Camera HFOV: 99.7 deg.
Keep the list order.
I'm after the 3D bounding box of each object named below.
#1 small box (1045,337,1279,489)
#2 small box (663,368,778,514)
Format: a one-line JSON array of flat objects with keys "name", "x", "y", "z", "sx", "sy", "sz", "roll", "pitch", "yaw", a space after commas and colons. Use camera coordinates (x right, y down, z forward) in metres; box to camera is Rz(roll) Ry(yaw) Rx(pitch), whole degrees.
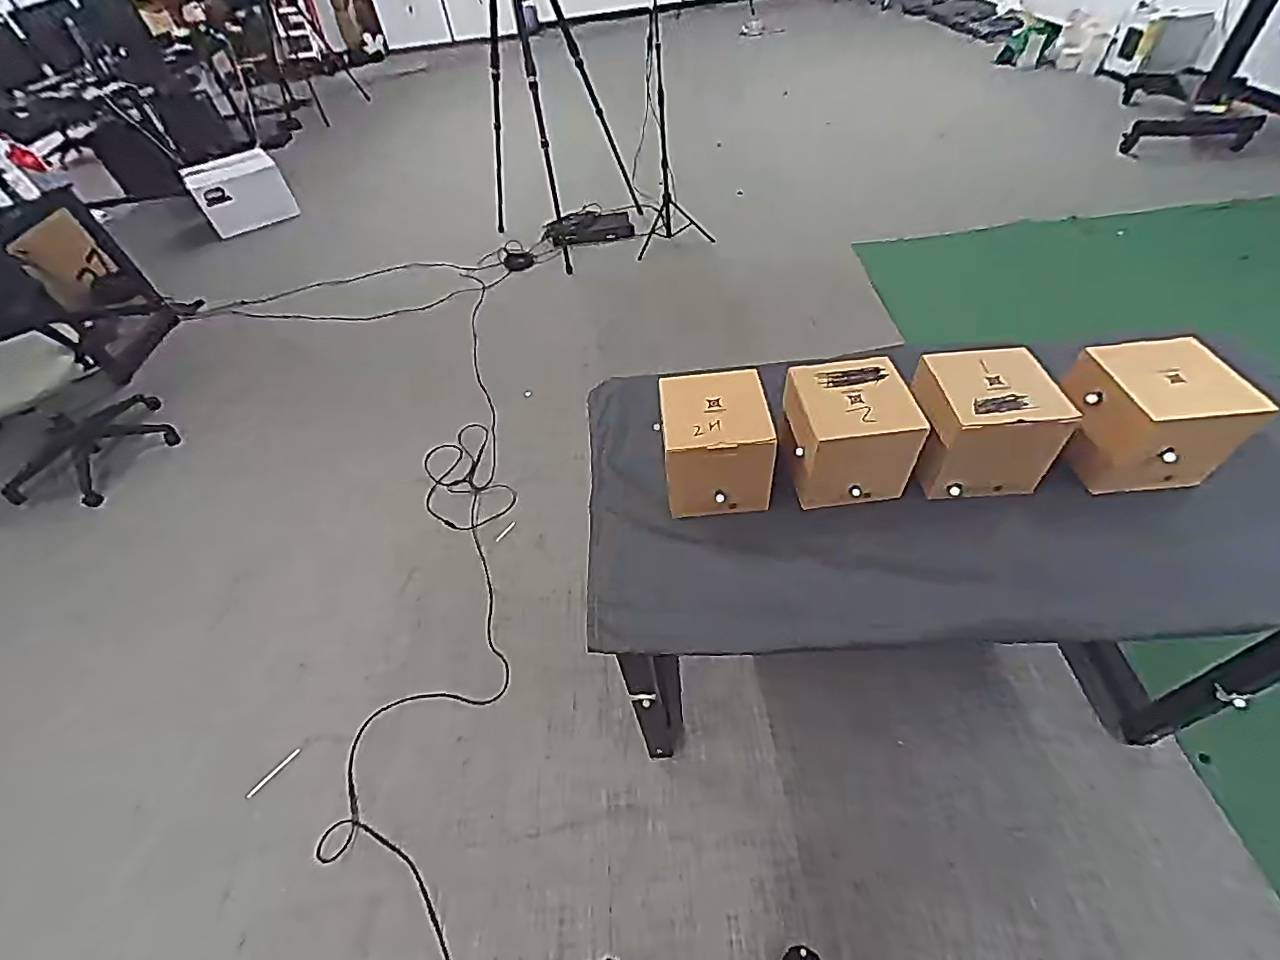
[{"name": "small box", "x": 0.795, "y": -0.099, "z": 0.851, "sx": 0.168, "sy": 0.176, "sz": 0.179, "roll": -5, "pitch": 49, "yaw": 4}, {"name": "small box", "x": 0.126, "y": -0.064, "z": 0.907, "sx": 0.168, "sy": 0.176, "sz": 0.179, "roll": -5, "pitch": 49, "yaw": 3}]
